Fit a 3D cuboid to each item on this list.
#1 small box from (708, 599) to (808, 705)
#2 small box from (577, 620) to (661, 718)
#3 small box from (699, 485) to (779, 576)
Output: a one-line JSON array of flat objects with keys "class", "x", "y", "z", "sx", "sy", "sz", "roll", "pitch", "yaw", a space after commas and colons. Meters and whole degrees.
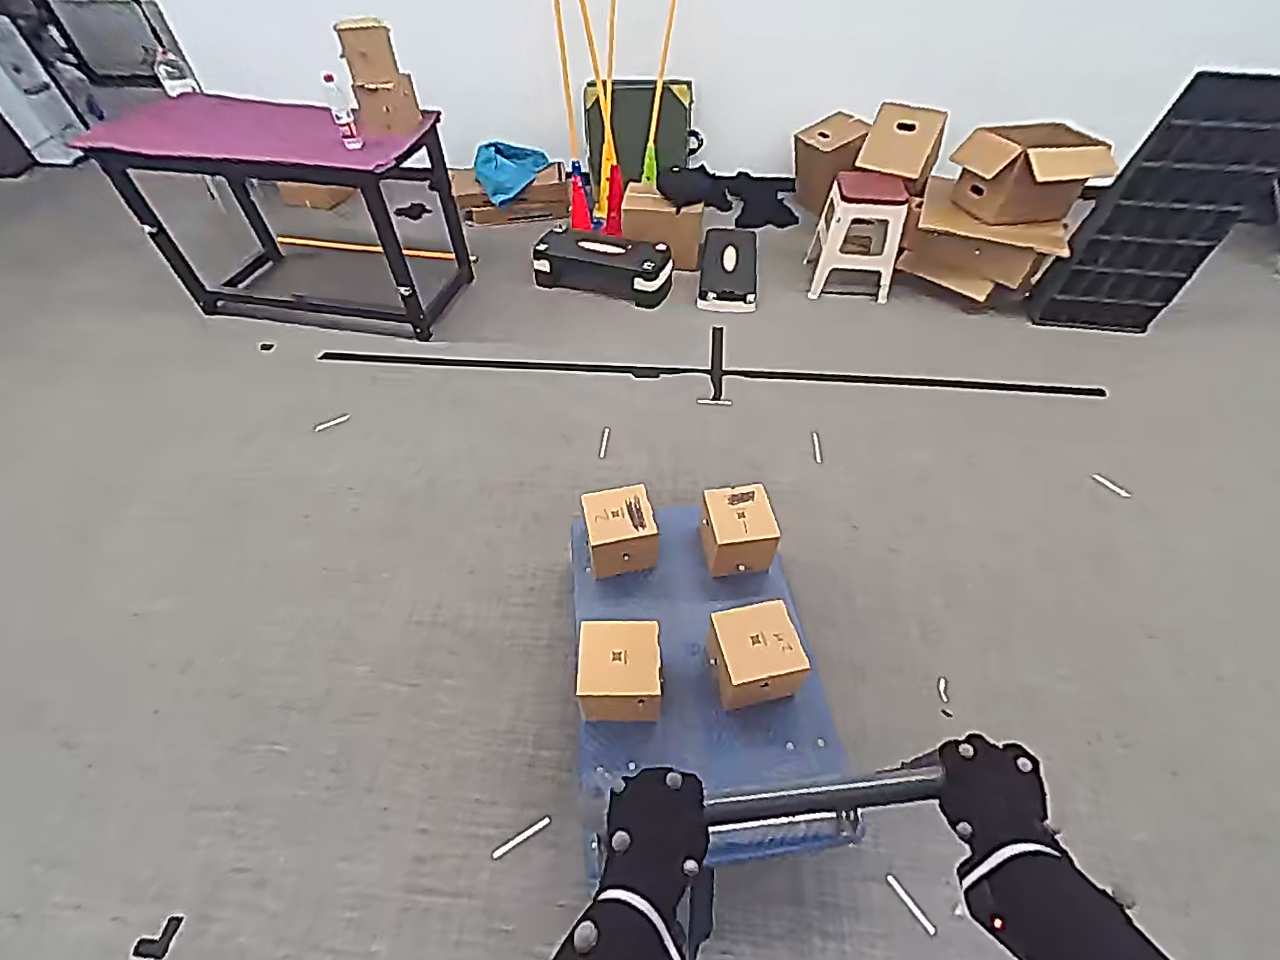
[{"class": "small box", "x": 0.260, "y": 0.402, "z": 1.249, "sx": 0.179, "sy": 0.176, "sz": 0.168, "roll": -9, "pitch": 51, "yaw": -7}, {"class": "small box", "x": -0.045, "y": 0.431, "z": 1.227, "sx": 0.179, "sy": 0.176, "sz": 0.168, "roll": 0, "pitch": 49, "yaw": -2}, {"class": "small box", "x": 0.261, "y": 0.138, "z": 1.471, "sx": 0.168, "sy": 0.176, "sz": 0.179, "roll": -6, "pitch": 51, "yaw": -5}]
